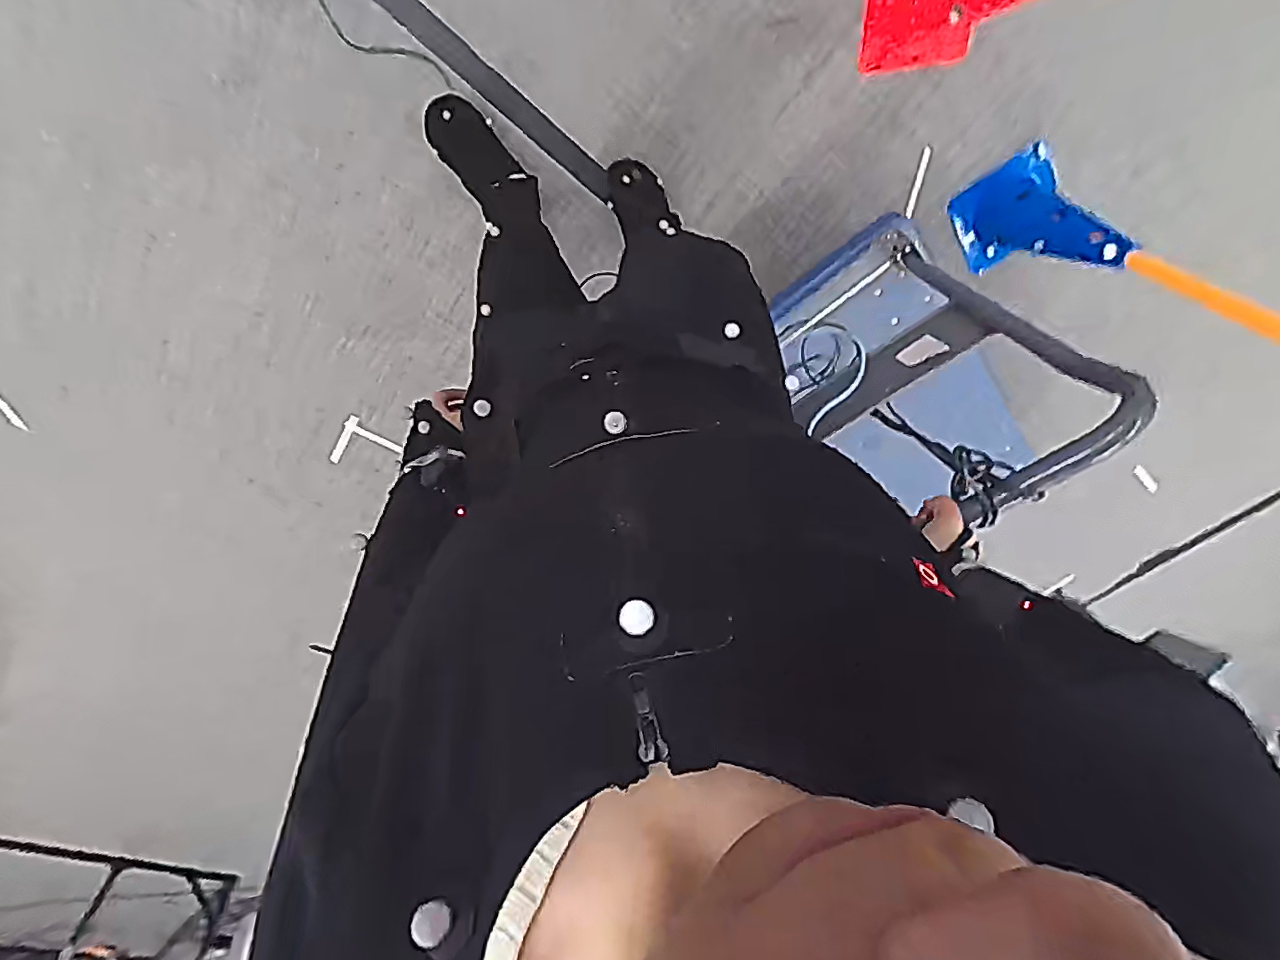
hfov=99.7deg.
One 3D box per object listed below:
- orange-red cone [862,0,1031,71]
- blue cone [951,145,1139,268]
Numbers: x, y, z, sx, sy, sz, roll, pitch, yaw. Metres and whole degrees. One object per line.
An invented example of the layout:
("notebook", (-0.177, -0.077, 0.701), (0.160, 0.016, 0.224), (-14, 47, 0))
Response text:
("orange-red cone", (0.500, -0.729, 0.797), (0.198, 0.360, 0.199), (-5, 129, 2))
("blue cone", (0.787, -0.477, 1.024), (0.193, 0.380, 0.192), (-31, 122, 19))
